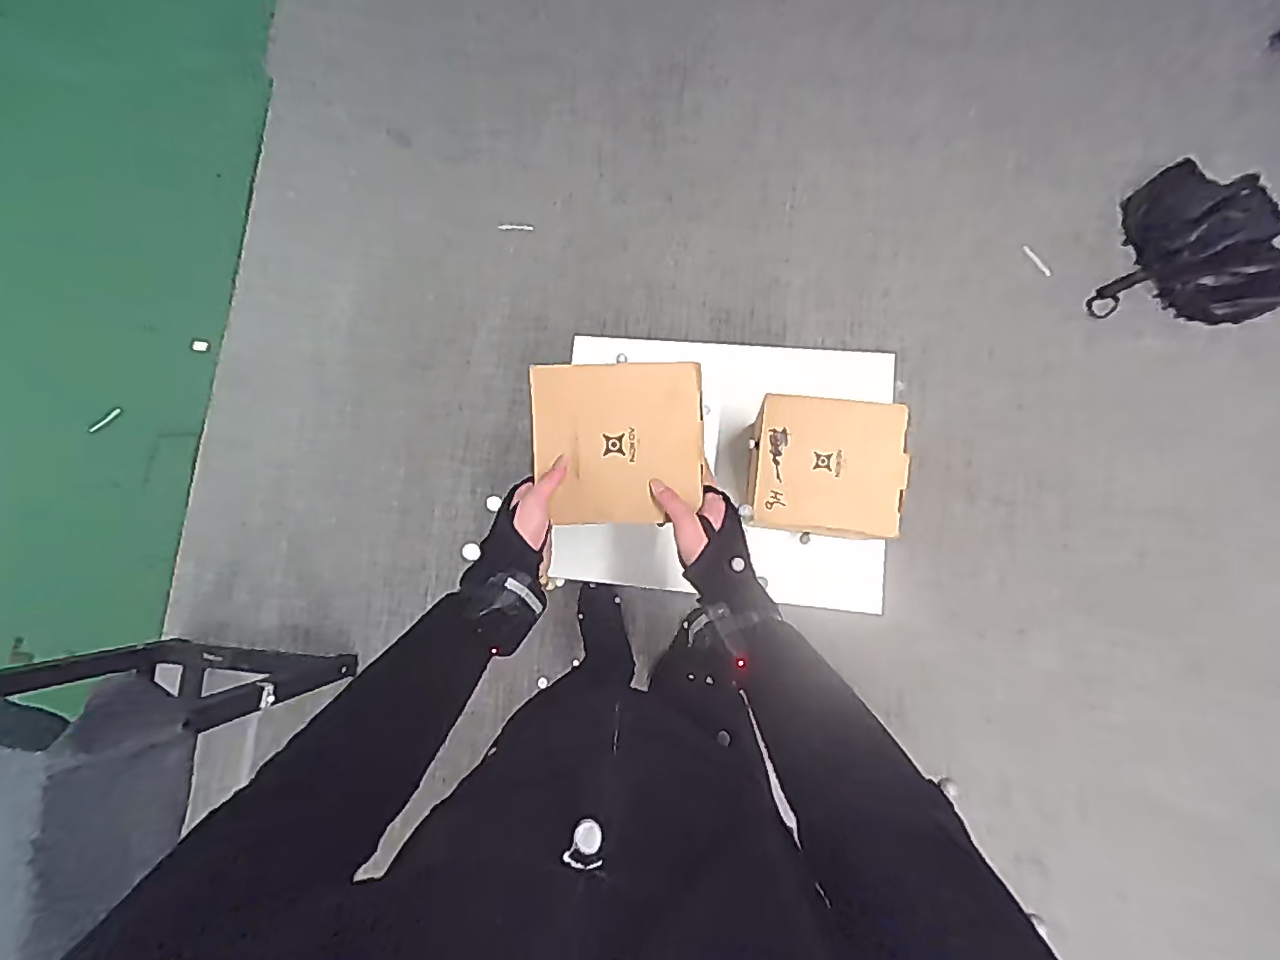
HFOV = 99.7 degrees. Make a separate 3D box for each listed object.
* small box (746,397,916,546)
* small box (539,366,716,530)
[{"bbox_3d":[0.248,-0.005,0.739,0.179,0.176,0.168,7,84,8],"label":"small box"},{"bbox_3d":[-0.011,-0.038,0.620,0.179,0.176,0.168,-1,94,2],"label":"small box"}]
